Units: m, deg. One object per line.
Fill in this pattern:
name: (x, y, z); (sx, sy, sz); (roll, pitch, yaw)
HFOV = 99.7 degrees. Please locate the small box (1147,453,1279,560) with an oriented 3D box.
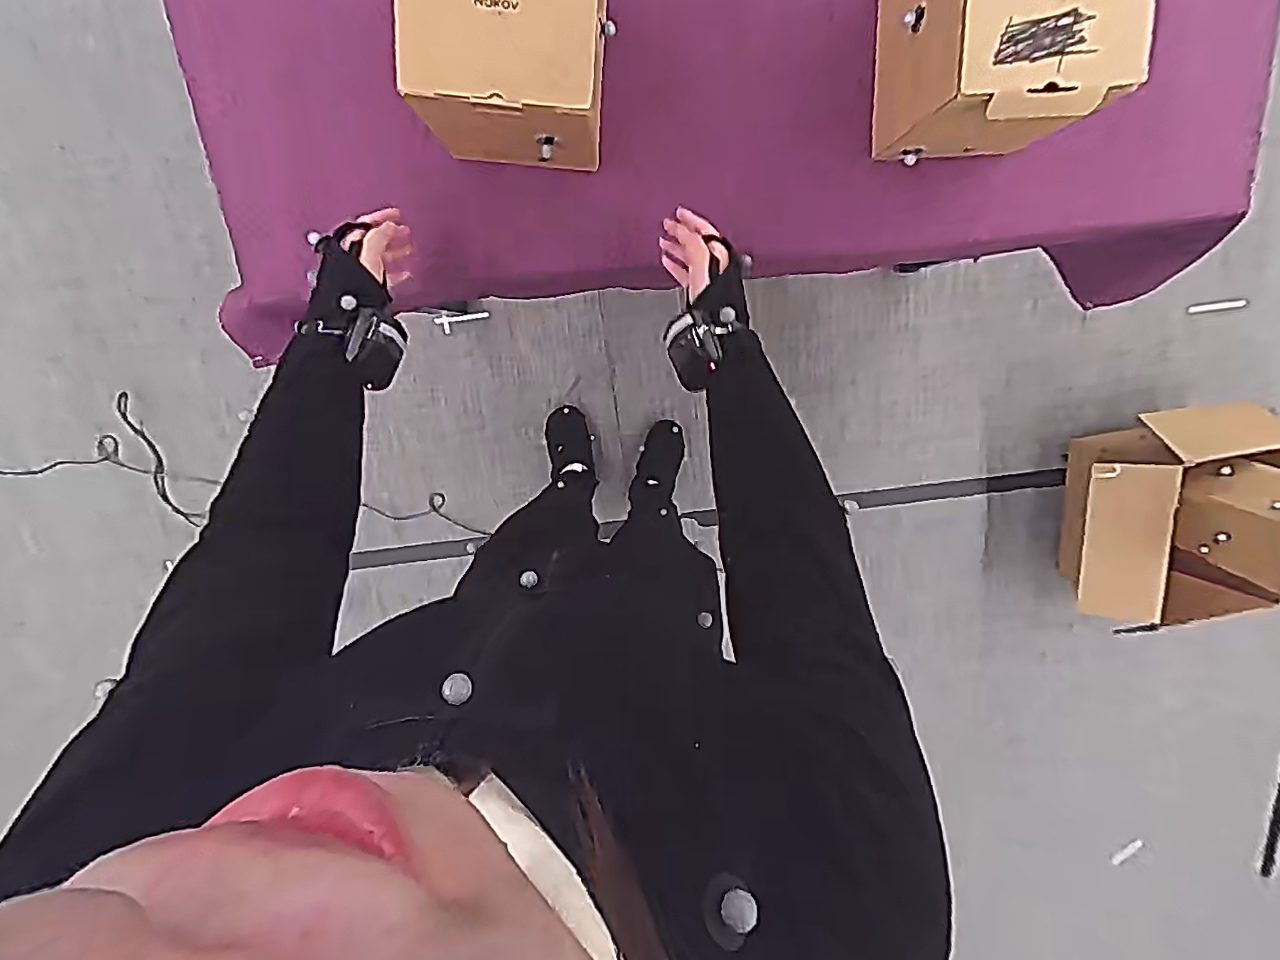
small box: (1.349, 0.052, 1.268); (0.168, 0.176, 0.179); (-27, 107, 8)

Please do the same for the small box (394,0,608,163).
small box: (-0.118, -0.425, 0.513); (0.168, 0.176, 0.179); (4, 104, -4)

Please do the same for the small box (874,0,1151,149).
small box: (0.346, -0.443, 0.527); (0.168, 0.176, 0.179); (-4, 104, -1)
